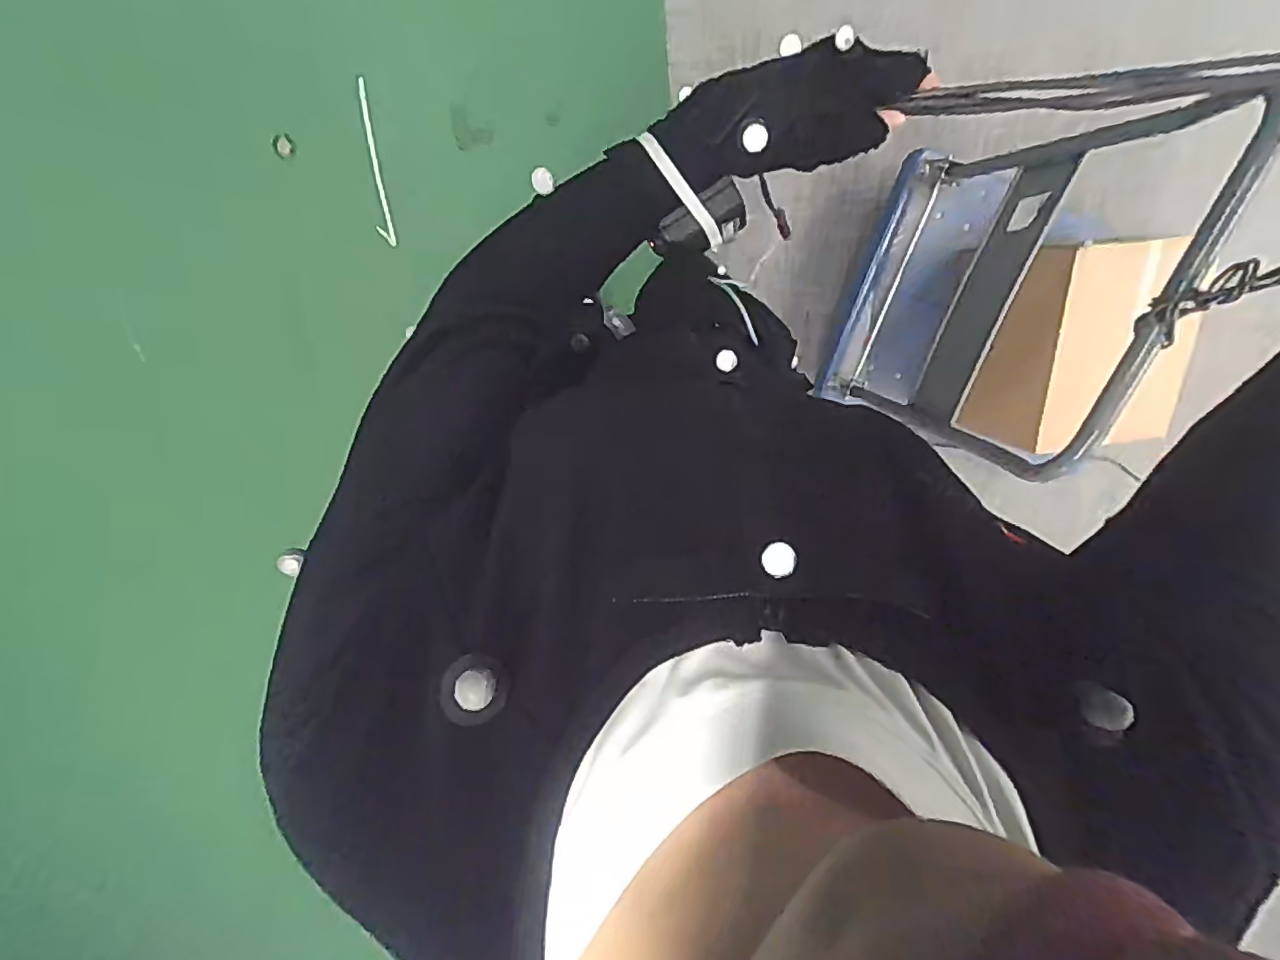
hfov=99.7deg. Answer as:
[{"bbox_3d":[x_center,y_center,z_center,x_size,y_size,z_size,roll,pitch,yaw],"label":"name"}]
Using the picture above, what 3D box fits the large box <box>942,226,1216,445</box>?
[{"bbox_3d":[0.931,-0.327,1.211,0.320,0.320,0.408,-8,112,-6],"label":"large box"}]
